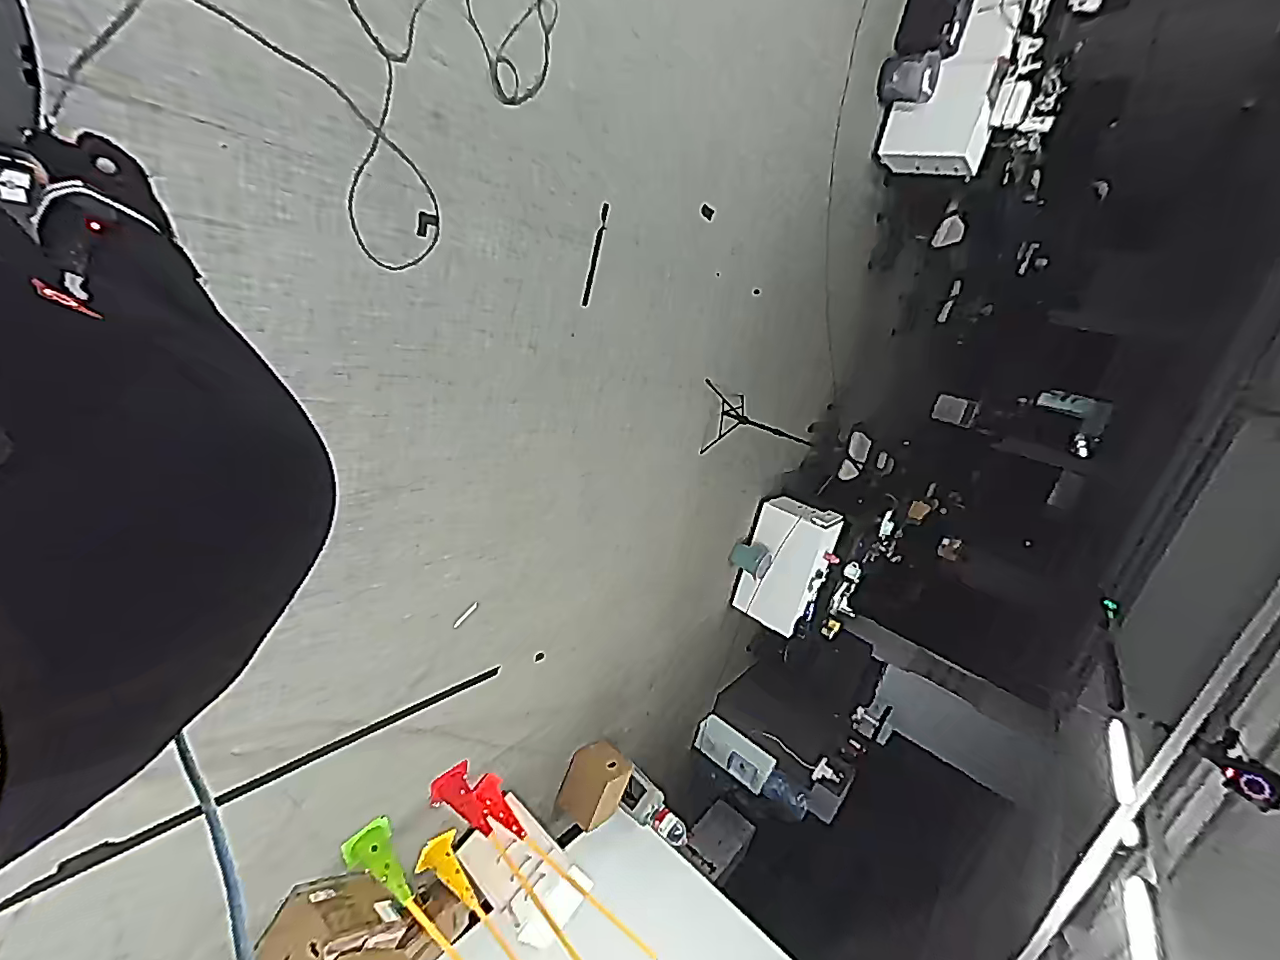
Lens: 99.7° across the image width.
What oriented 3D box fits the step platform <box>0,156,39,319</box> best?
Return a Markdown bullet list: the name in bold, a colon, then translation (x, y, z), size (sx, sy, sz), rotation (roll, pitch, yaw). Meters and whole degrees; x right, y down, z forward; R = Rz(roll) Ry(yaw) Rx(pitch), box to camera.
- **step platform**: translation (-1.356, -0.407, 0.758), size (0.684, 0.204, 0.286), rotation (-11, 120, -49)
